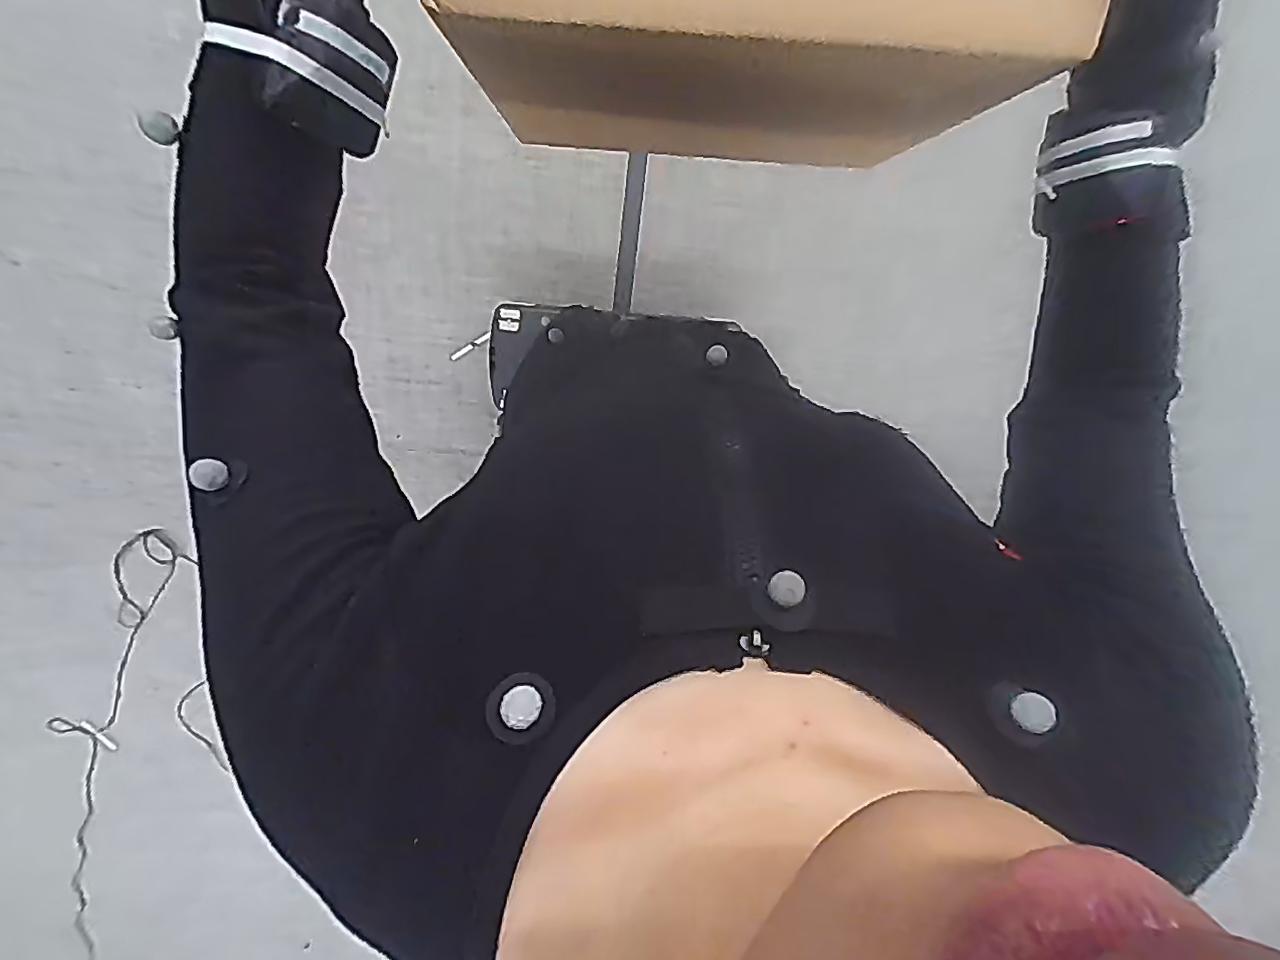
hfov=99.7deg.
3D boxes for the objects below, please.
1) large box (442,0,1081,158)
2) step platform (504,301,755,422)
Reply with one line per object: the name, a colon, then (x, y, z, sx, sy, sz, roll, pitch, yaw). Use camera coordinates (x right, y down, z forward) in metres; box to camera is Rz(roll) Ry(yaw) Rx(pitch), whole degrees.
large box: (0.074, -0.470, 0.427, 0.408, 0.320, 0.320, 2, 110, -3)
step platform: (-0.029, -0.327, 1.509, 0.684, 0.204, 0.286, 3, 106, -5)
